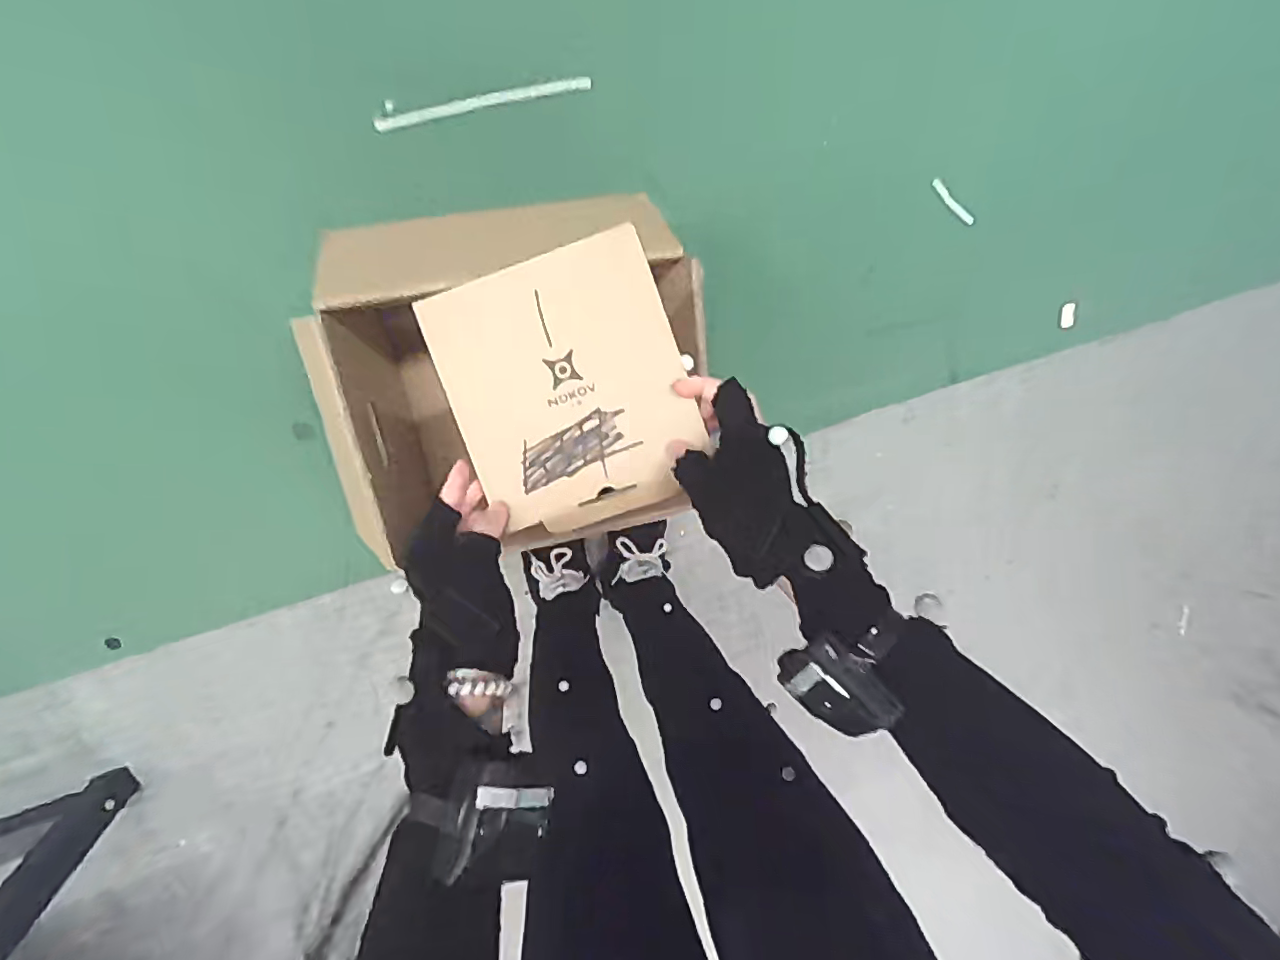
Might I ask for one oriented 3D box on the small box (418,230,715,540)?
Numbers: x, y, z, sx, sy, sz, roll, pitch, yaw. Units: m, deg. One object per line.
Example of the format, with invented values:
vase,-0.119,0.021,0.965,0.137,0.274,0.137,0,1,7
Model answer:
small box,-0.047,-0.069,0.450,0.168,0.176,0.179,-19,94,2
